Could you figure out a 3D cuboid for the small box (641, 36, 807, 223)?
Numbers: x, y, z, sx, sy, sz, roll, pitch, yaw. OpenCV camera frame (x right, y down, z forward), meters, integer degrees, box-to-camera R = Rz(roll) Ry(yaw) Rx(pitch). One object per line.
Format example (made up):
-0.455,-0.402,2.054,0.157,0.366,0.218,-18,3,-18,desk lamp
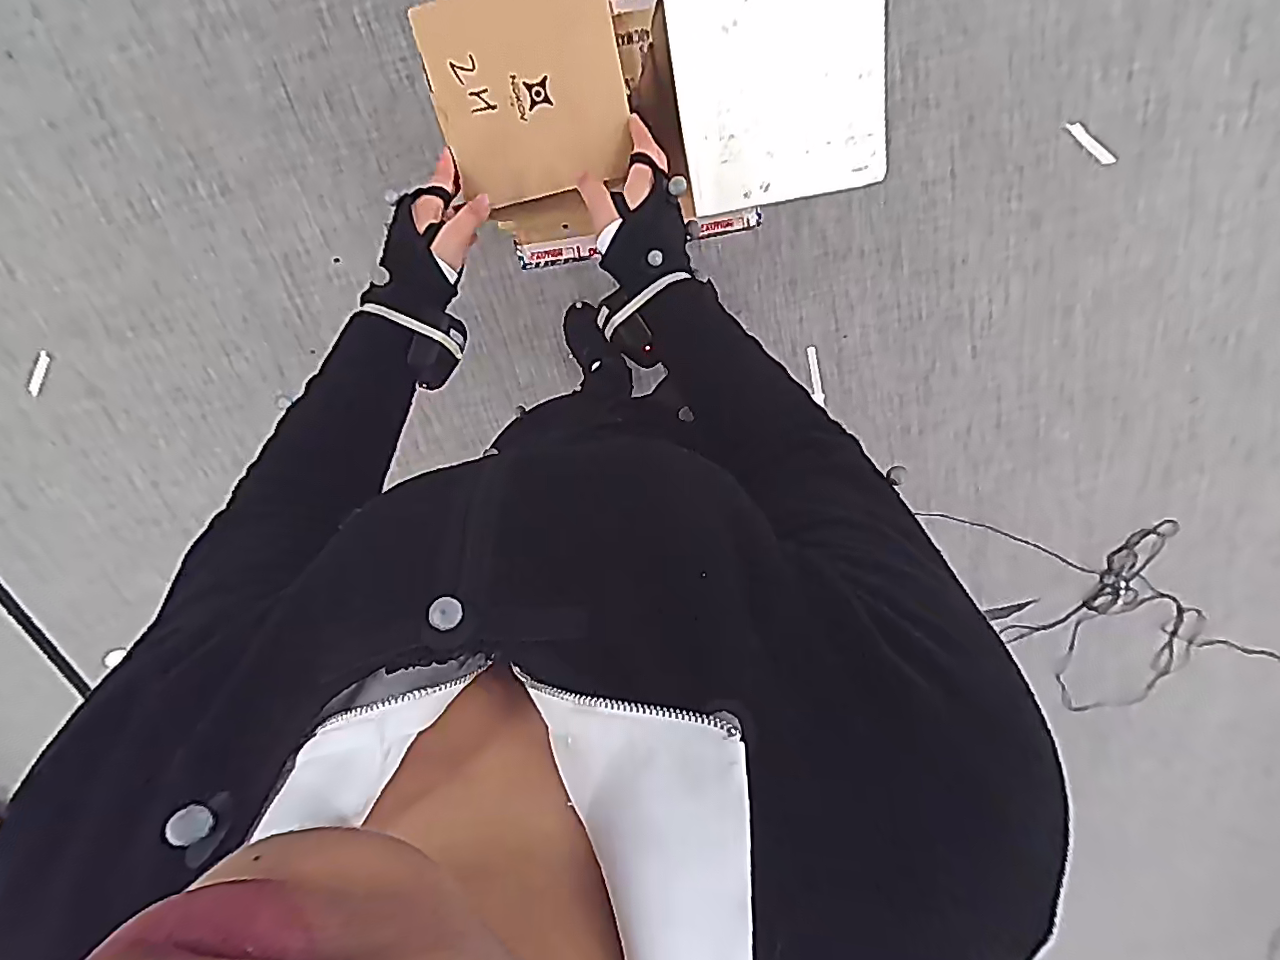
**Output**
0.108,-0.465,0.744,0.179,0.176,0.168,-15,114,2,small box

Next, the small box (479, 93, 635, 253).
-0.104,-0.417,0.752,0.179,0.176,0.168,-6,115,1,small box
